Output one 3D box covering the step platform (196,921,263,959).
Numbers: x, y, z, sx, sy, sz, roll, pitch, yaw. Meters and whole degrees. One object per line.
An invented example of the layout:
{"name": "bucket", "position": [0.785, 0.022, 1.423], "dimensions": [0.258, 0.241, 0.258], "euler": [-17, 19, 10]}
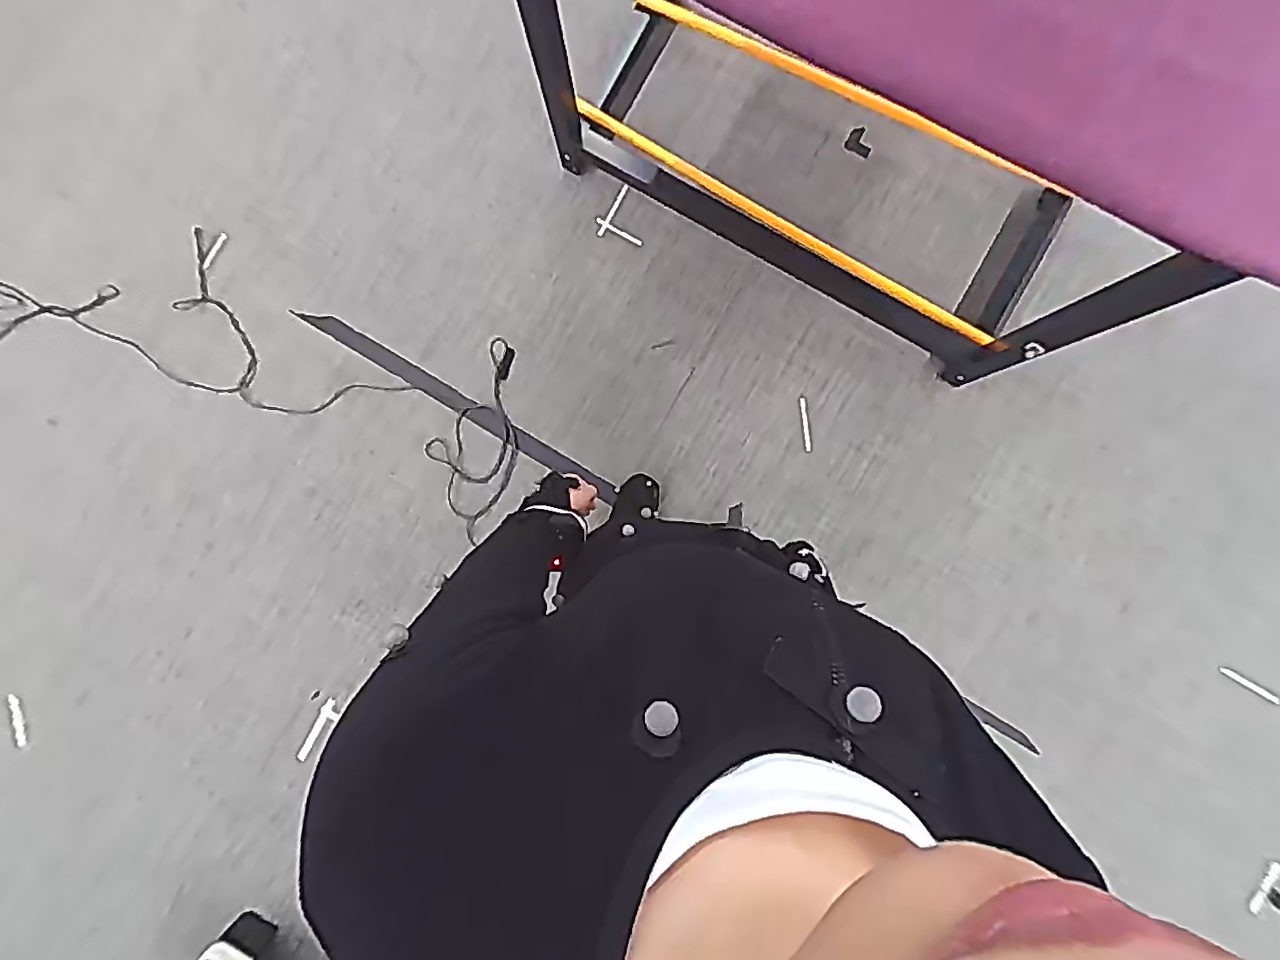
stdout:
{"name": "step platform", "position": [-0.820, 1.393, 1.272], "dimensions": [0.684, 0.204, 0.286], "euler": [30, 89, 1]}
